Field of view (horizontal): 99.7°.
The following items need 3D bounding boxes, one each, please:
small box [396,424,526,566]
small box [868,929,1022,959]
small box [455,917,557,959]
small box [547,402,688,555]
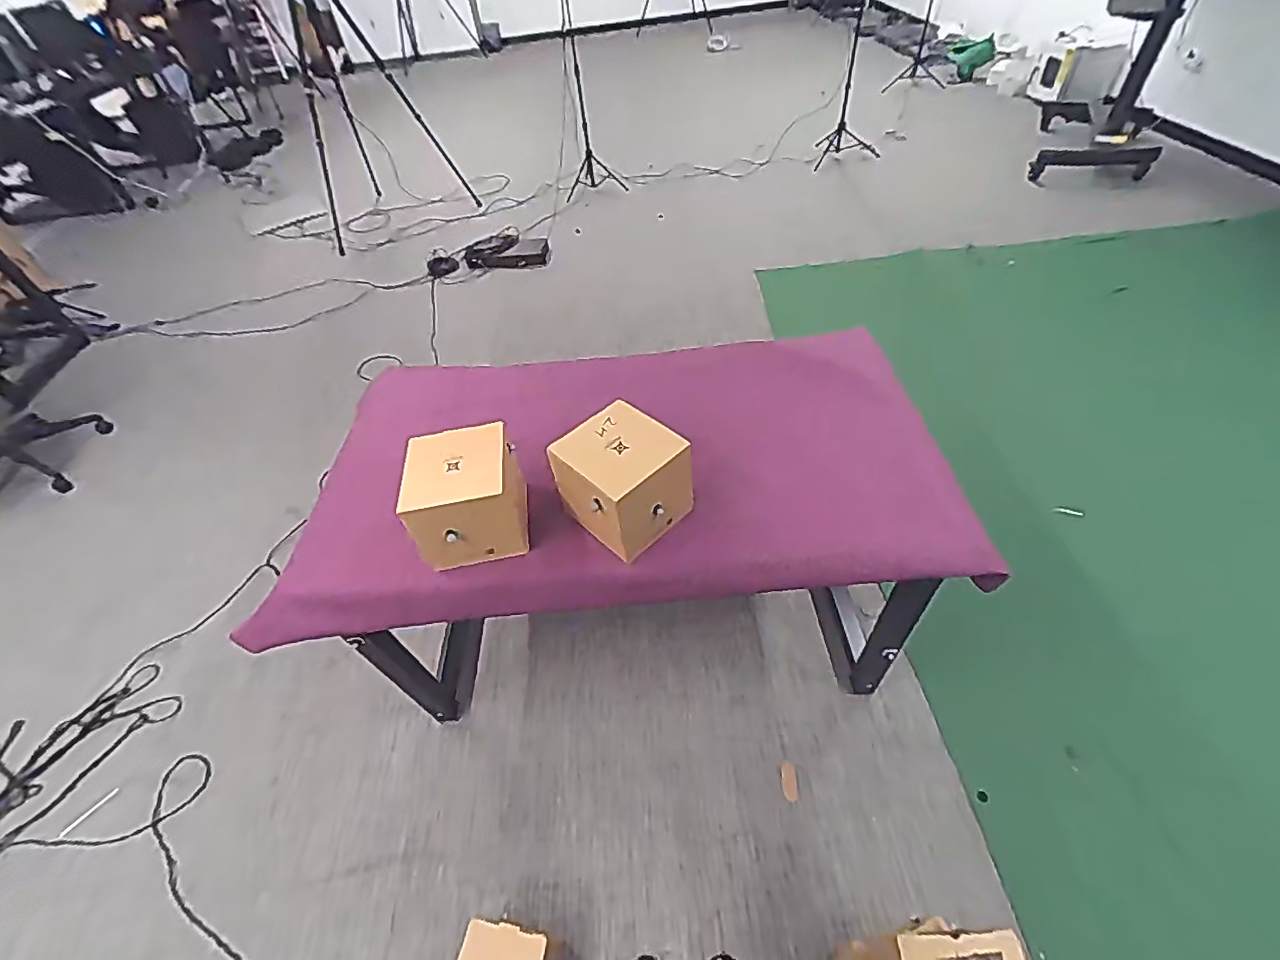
[{"bbox_3d":[-0.298,0.032,0.938,0.168,0.176,0.179,-11,46,-3],"label":"small box"},{"bbox_3d":[0.439,0.745,0.753,0.168,0.176,0.179,-4,49,2],"label":"small box"},{"bbox_3d":[-0.272,0.991,1.058,0.168,0.176,0.179,6,50,12],"label":"small box"},{"bbox_3d":[-0.031,0.003,0.931,0.168,0.176,0.179,-37,54,-25],"label":"small box"}]
